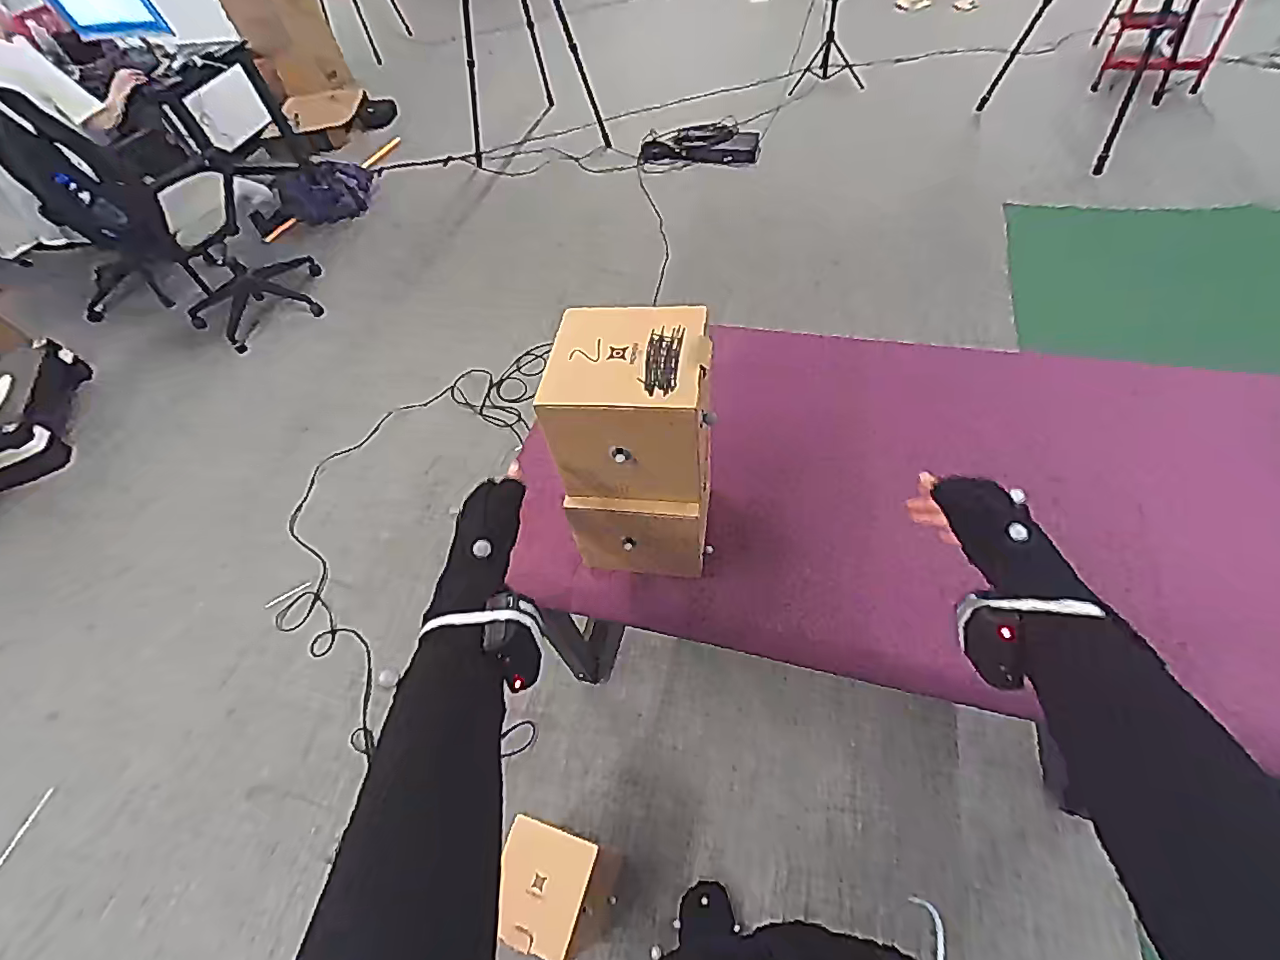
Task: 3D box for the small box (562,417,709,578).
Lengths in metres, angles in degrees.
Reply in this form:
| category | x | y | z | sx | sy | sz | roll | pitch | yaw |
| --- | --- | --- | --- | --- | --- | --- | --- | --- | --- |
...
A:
| category | x | y | z | sx | sy | sz | roll | pitch | yaw |
| --- | --- | --- | --- | --- | --- | --- | --- | --- | --- |
| small box | 0.006 | 0.030 | 0.785 | 0.179 | 0.176 | 0.168 | 4 | 54 | 11 |
